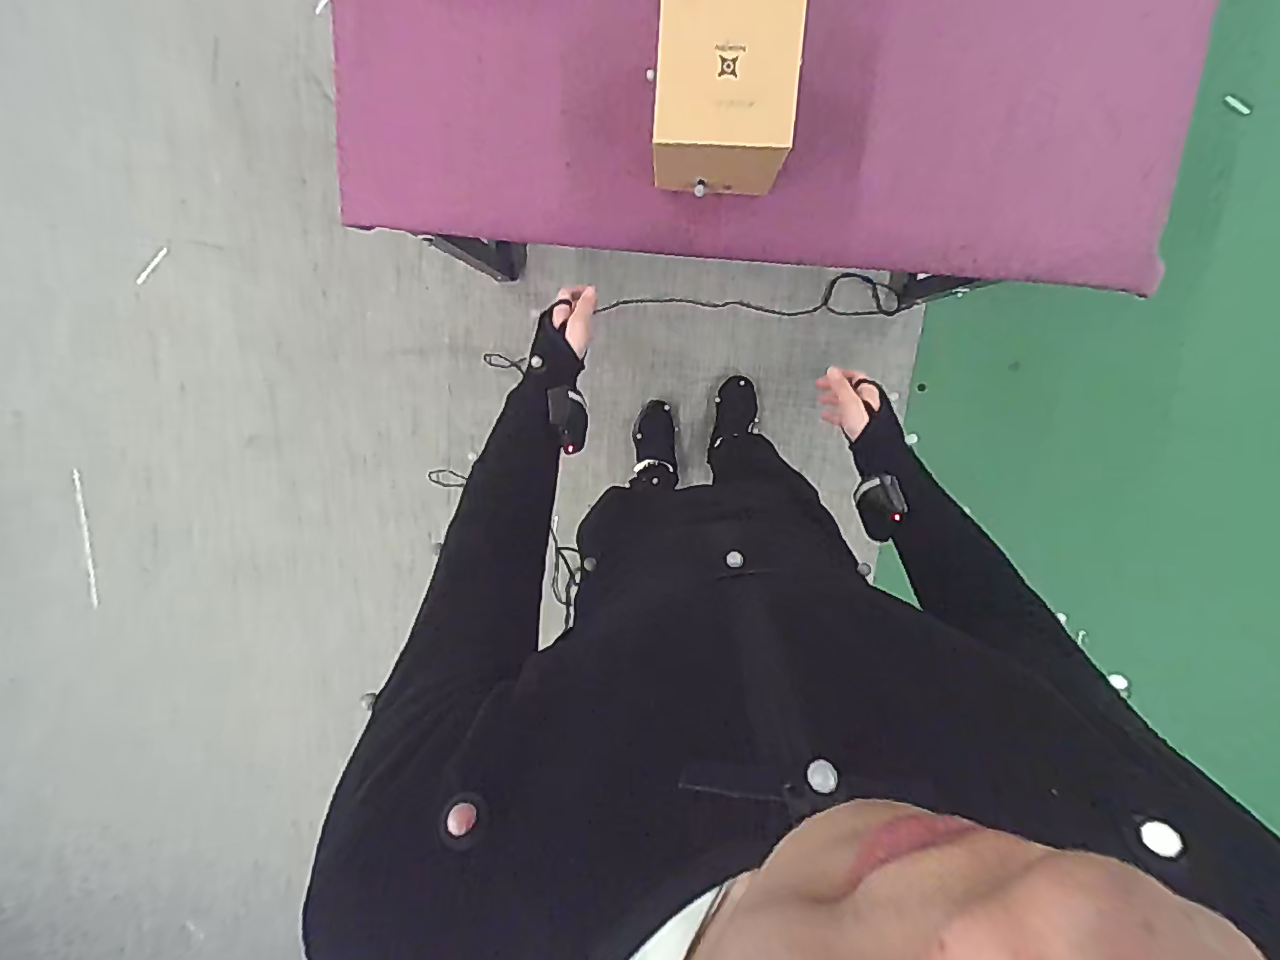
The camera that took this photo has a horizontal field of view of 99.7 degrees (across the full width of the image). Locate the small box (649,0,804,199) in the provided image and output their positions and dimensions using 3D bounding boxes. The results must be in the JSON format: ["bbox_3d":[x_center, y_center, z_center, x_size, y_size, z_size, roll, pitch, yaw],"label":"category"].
[{"bbox_3d":[0.104,-0.493,0.706,0.168,0.176,0.179,5,101,4],"label":"small box"}]
